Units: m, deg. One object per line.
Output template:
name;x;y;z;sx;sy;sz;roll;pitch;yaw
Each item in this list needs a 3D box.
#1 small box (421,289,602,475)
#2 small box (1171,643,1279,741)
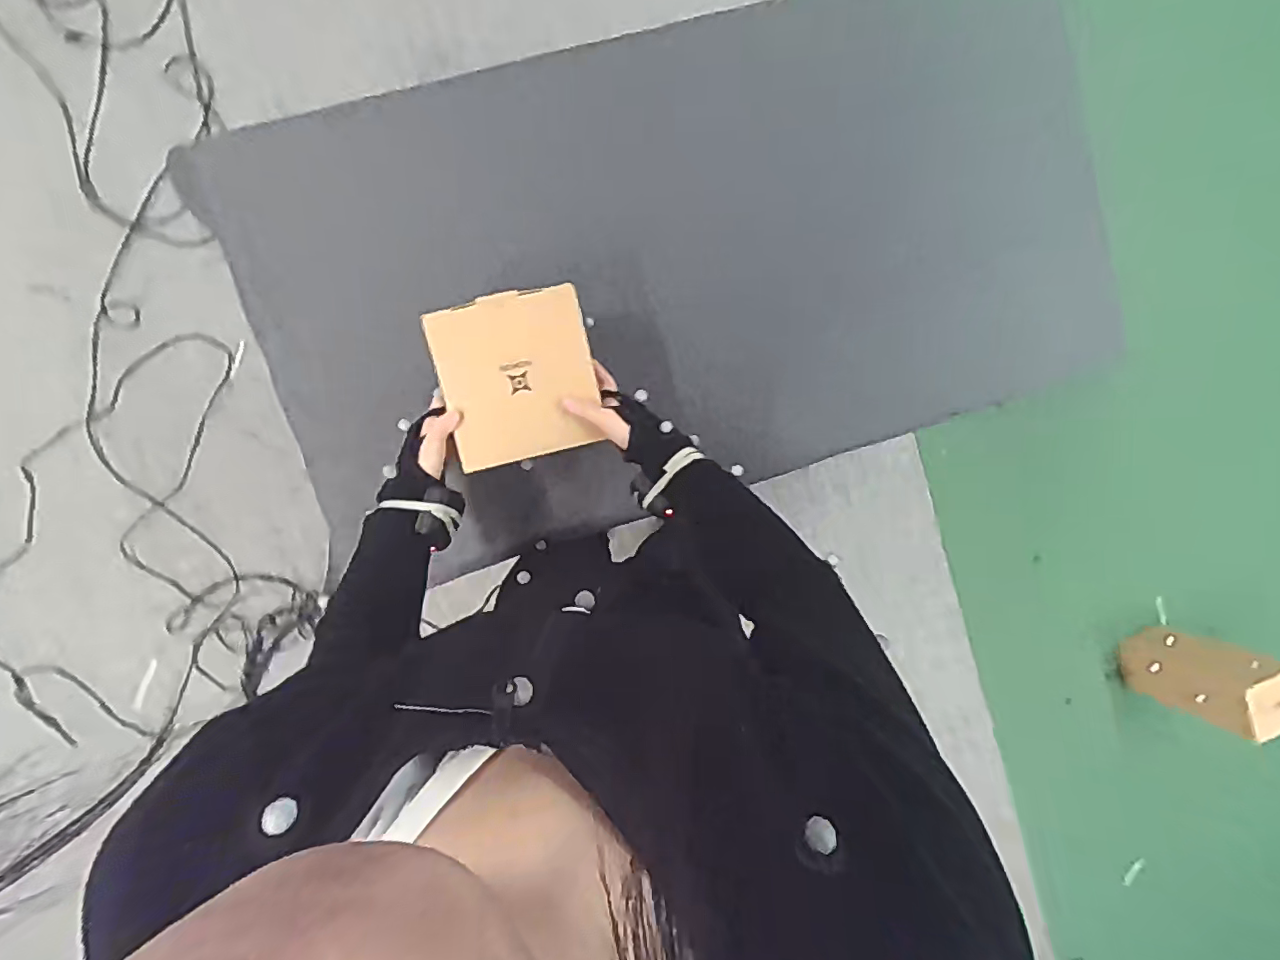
small box;-0.146;-0.114;0.670;0.168;0.176;0.179;-14;96;-5
small box;1.670;0.586;1.522;0.179;0.176;0.168;-22;97;-5
